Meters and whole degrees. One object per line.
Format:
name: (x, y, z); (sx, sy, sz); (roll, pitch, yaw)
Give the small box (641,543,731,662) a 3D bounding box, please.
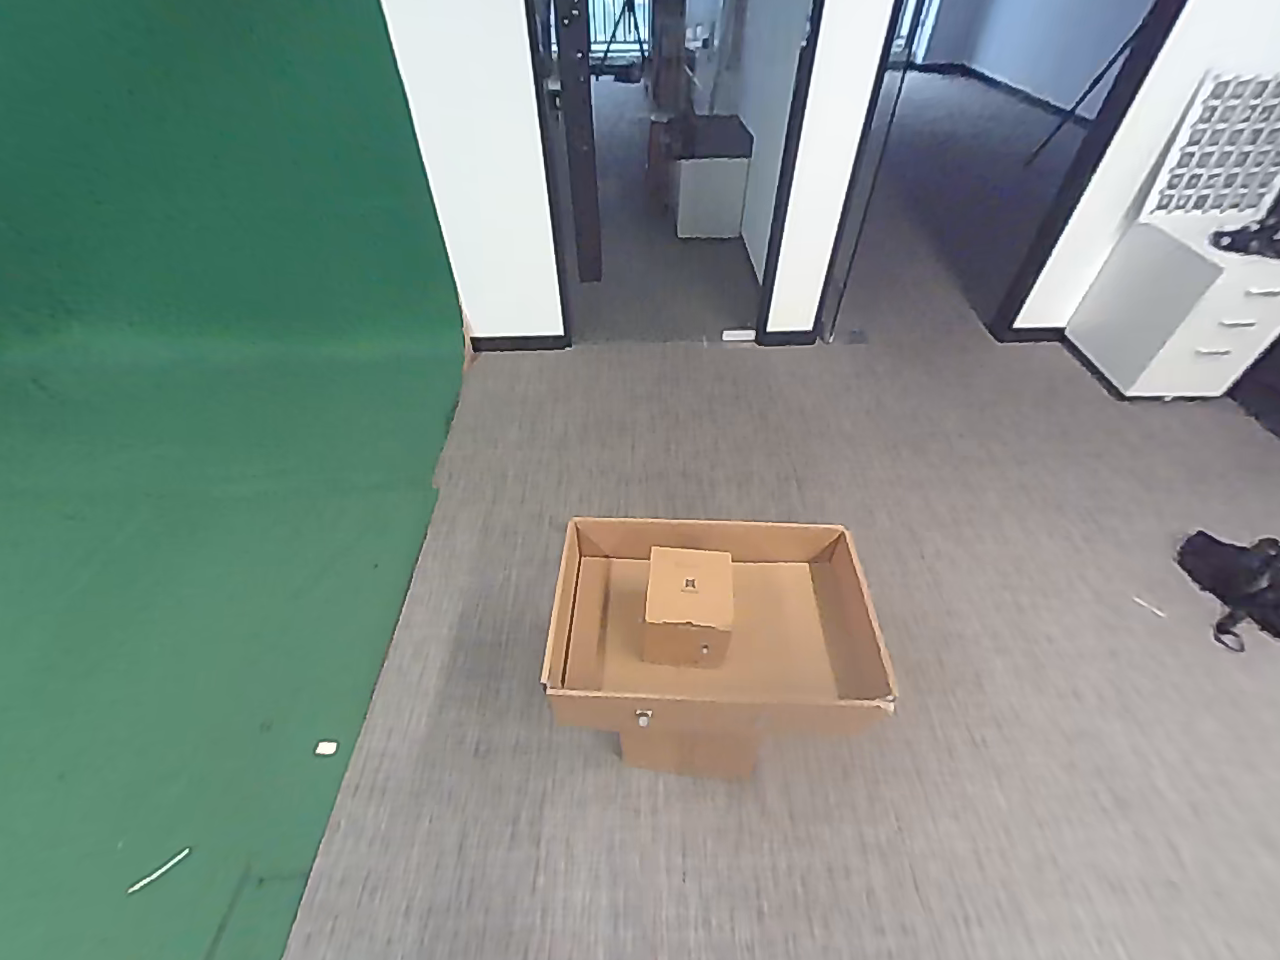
small box: (0.091, 0.253, 1.106); (0.168, 0.176, 0.179); (5, 44, 1)
